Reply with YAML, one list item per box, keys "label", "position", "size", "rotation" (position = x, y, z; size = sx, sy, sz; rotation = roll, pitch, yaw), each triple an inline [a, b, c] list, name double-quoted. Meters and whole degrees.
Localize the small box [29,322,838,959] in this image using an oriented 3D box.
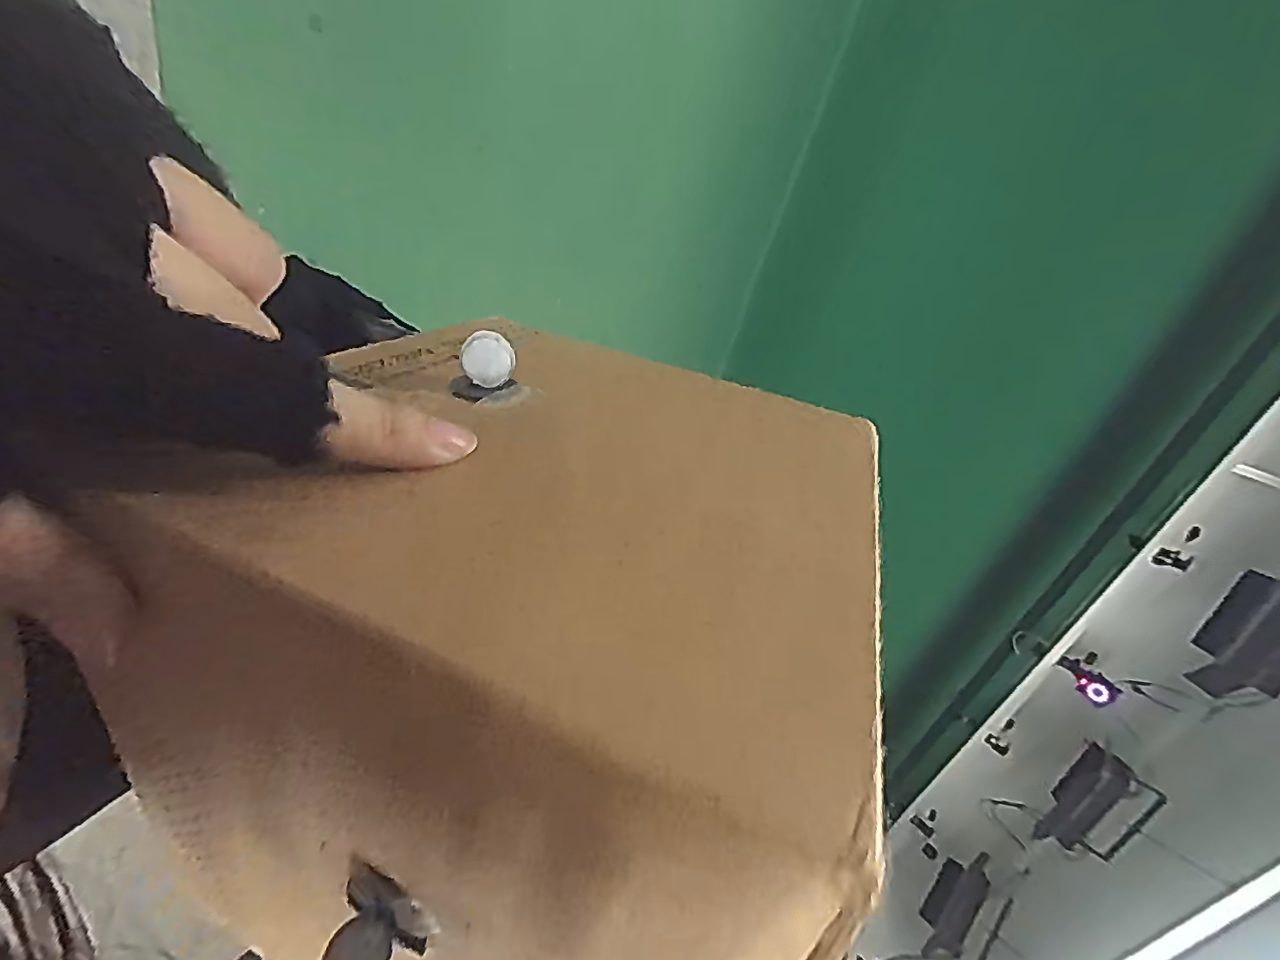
- label: "small box"
  position: [-0.044, 0.057, 0.199]
  size: [0.168, 0.176, 0.179]
  rotation: [-48, 153, -59]
